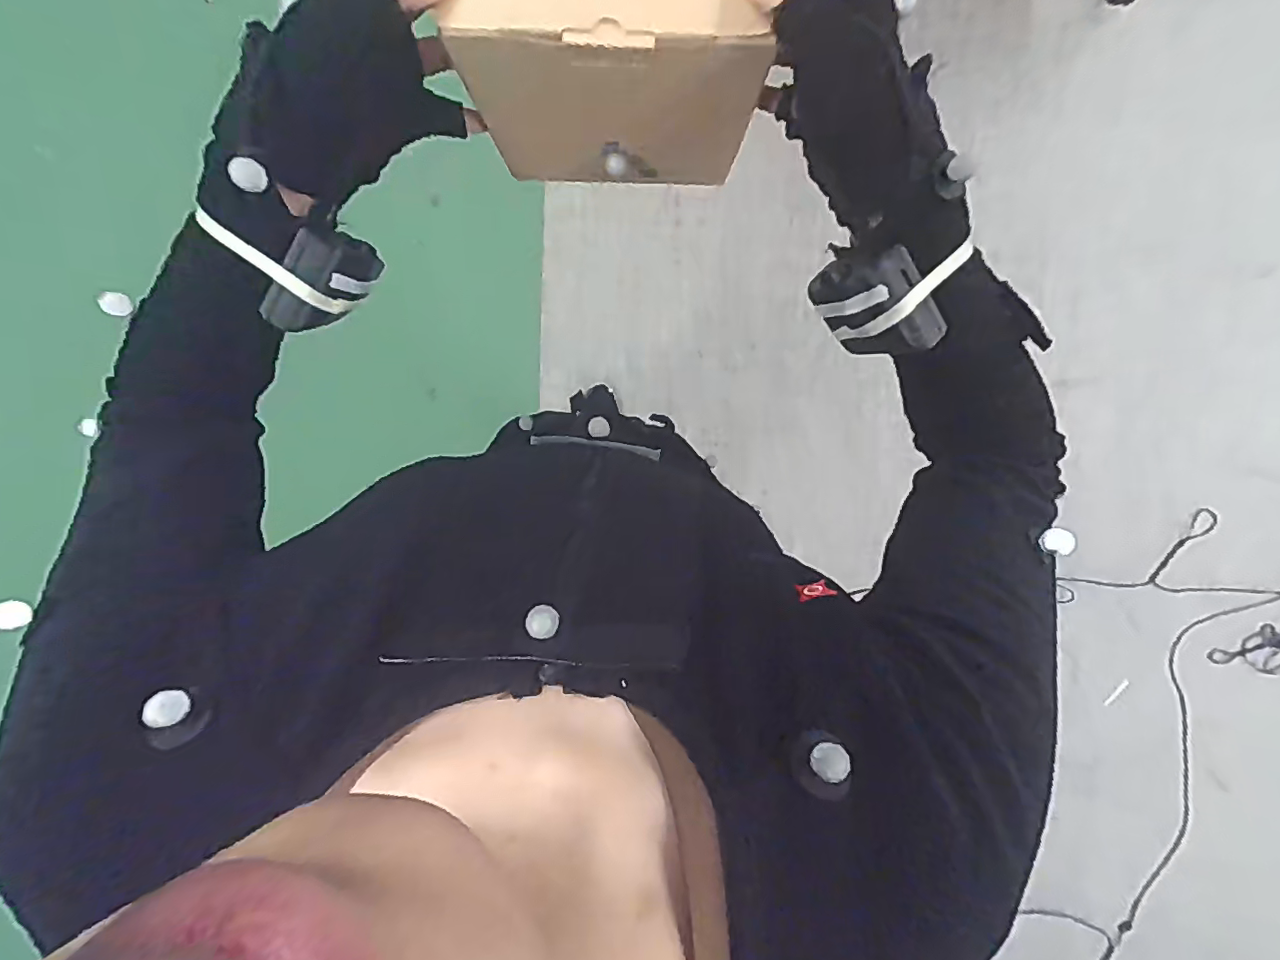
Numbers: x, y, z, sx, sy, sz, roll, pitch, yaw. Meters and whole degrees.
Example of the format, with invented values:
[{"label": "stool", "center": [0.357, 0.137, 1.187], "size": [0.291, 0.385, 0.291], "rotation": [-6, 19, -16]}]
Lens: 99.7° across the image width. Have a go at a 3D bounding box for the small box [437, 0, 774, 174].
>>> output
[{"label": "small box", "center": [-0.016, -0.313, 0.319], "size": [0.168, 0.176, 0.179], "rotation": [2, 97, 0]}]
